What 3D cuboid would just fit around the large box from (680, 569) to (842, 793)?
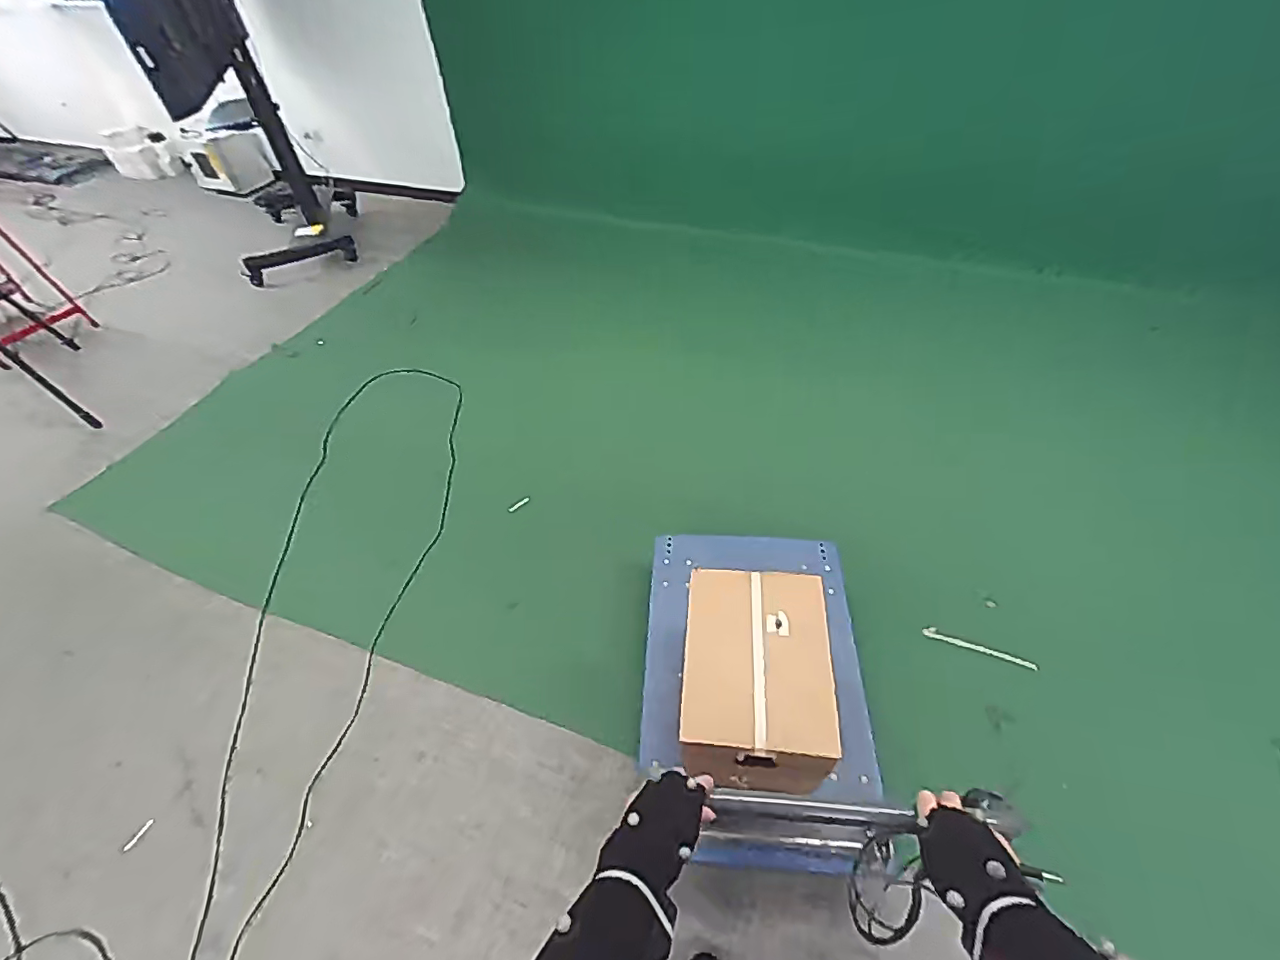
[{"bbox_3d":[0.261,0.470,1.275,0.320,0.320,0.408,3,48,7],"label":"large box"}]
